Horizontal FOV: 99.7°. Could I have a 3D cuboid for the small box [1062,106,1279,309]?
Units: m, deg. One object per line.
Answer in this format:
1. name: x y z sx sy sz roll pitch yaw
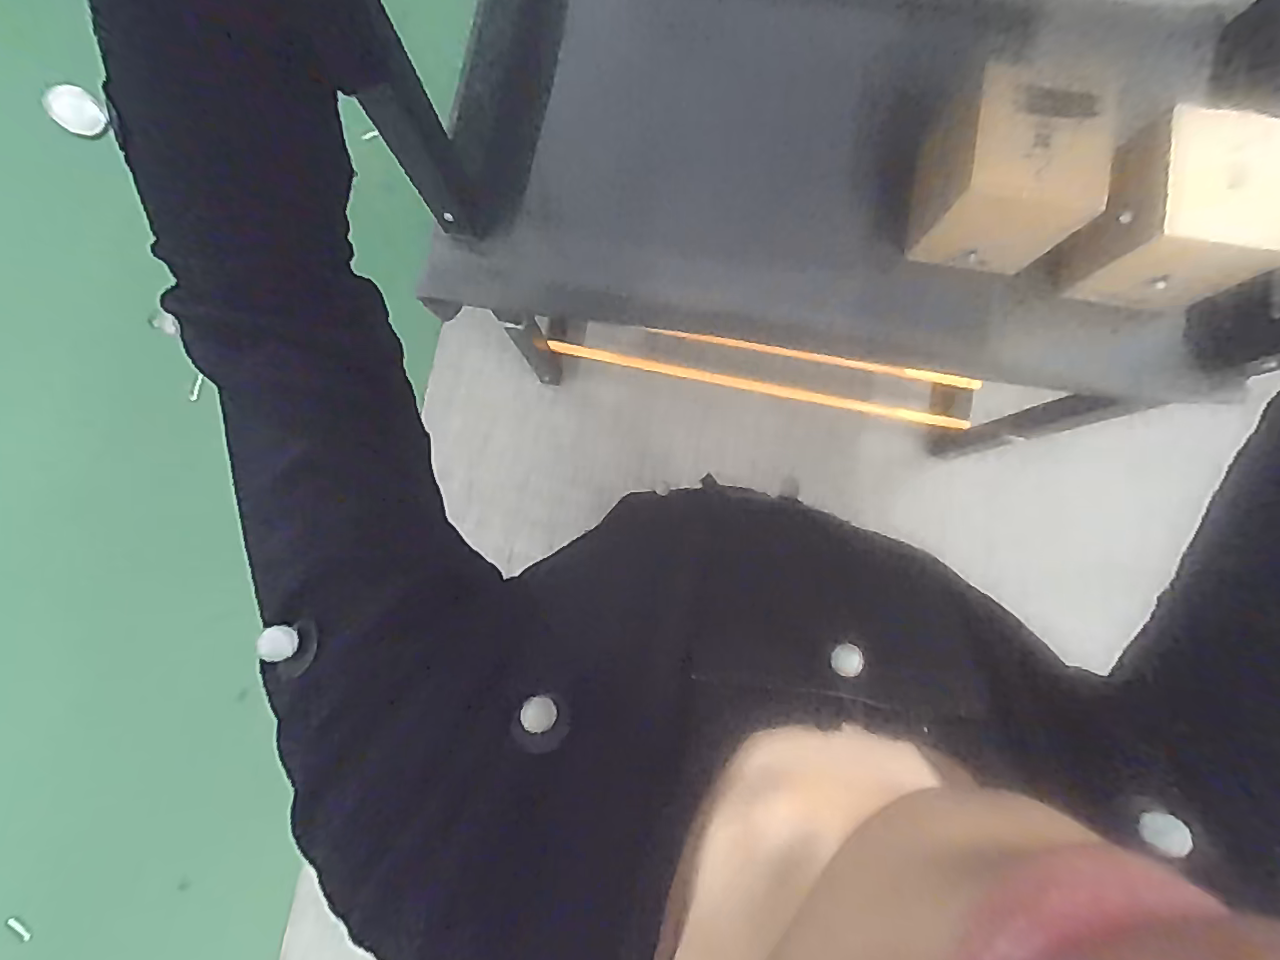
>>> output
1. small box: 0.716 -0.352 0.730 0.168 0.176 0.179 10 83 2
